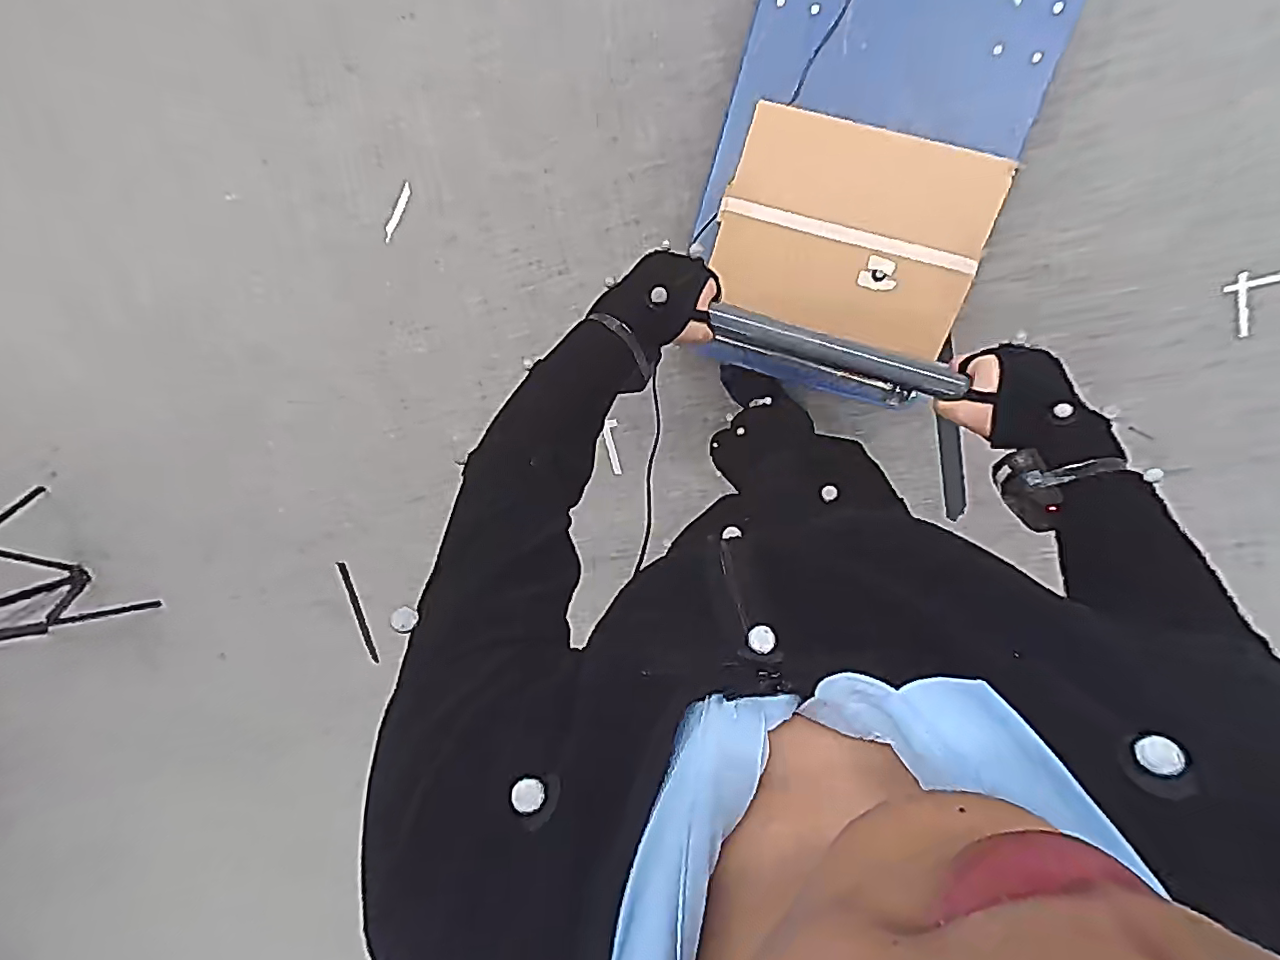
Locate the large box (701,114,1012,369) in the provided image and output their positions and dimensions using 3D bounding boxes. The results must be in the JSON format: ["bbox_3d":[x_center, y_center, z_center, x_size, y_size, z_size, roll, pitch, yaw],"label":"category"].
[{"bbox_3d":[0.354,-0.409,1.006,0.408,0.320,0.320,18,106,6],"label":"large box"}]
